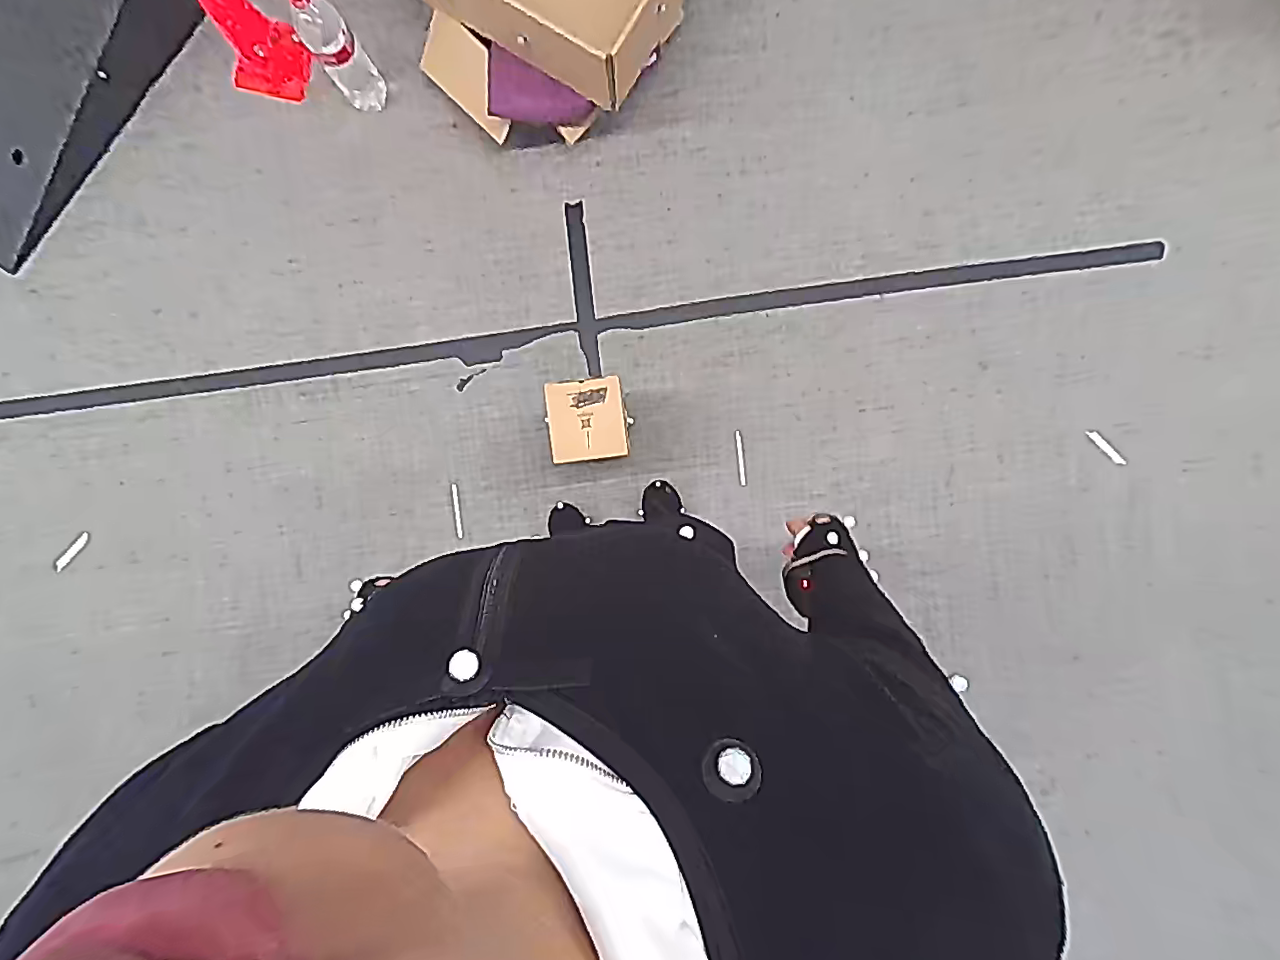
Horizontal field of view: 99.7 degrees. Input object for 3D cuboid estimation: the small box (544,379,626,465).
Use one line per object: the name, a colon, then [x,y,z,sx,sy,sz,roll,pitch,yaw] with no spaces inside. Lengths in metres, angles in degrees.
small box: [-0.121,-0.128,1.252,0.168,0.176,0.179,-7,92,0]
